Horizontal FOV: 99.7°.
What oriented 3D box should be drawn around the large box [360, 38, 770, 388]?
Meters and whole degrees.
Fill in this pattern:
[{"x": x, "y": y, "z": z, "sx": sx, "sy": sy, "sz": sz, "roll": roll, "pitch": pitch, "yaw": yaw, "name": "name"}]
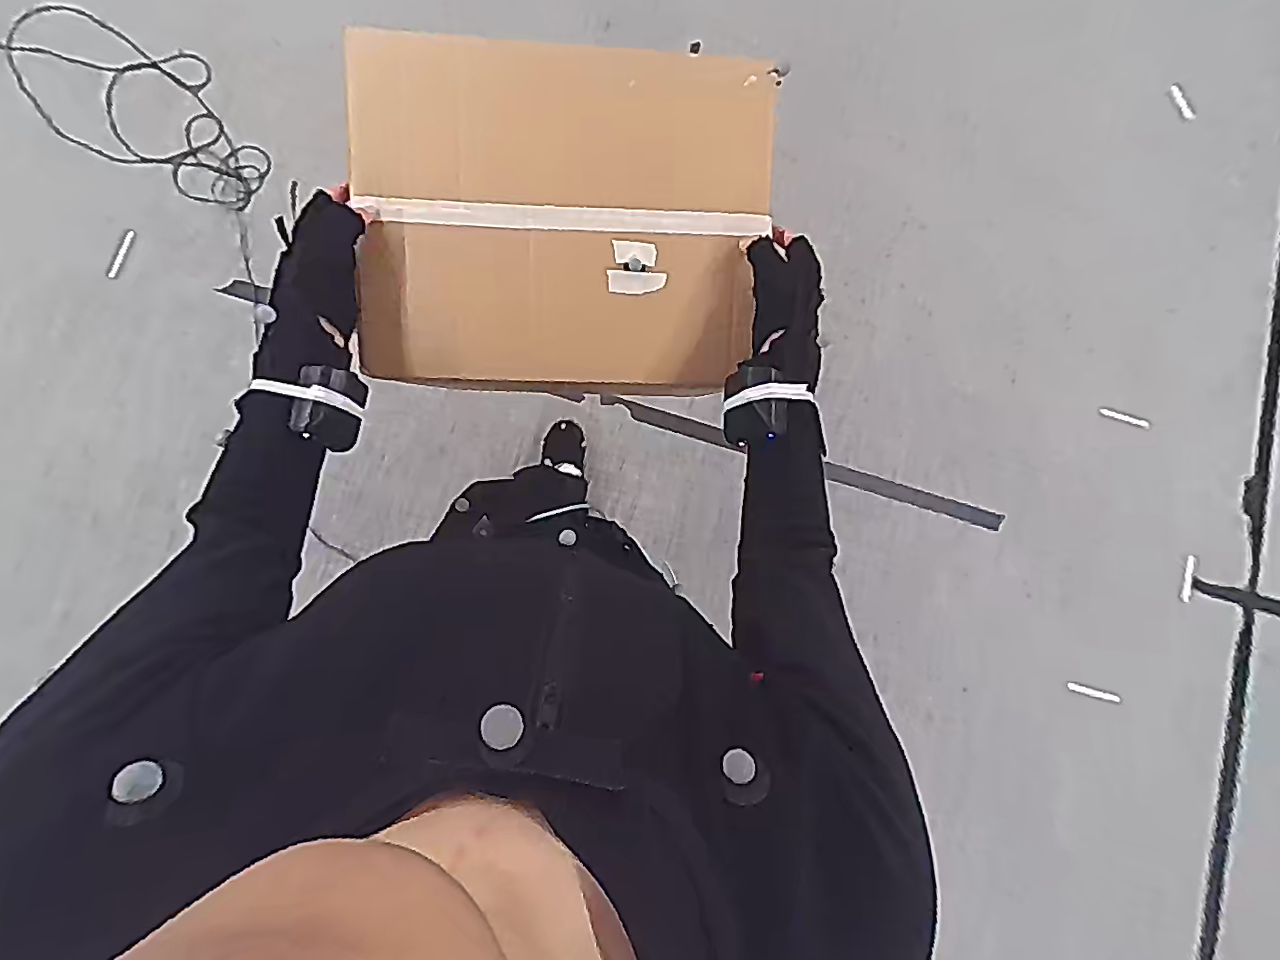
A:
[{"x": -0.082, "y": -0.282, "z": 0.689, "sx": 0.408, "sy": 0.320, "sz": 0.320, "roll": 0, "pitch": 98, "yaw": -6, "name": "large box"}]
